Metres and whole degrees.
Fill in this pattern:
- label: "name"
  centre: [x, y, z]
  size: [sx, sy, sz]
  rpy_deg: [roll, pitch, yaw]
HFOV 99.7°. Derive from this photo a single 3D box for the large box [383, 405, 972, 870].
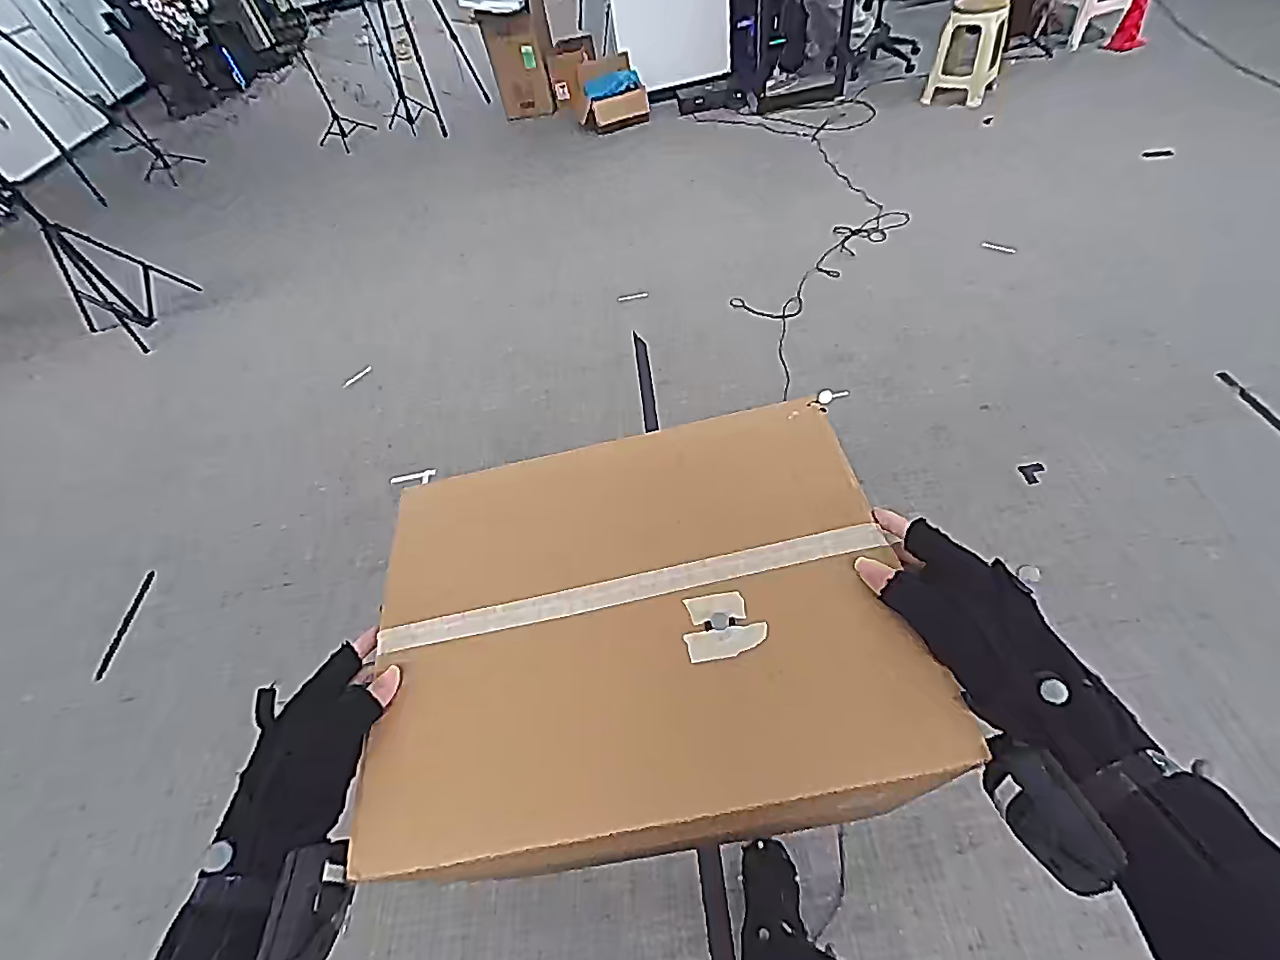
- label: "large box"
  centre: [0.021, 0.176, 0.557]
  size: [0.408, 0.320, 0.320]
  rpy_deg: [-12, 53, 2]
